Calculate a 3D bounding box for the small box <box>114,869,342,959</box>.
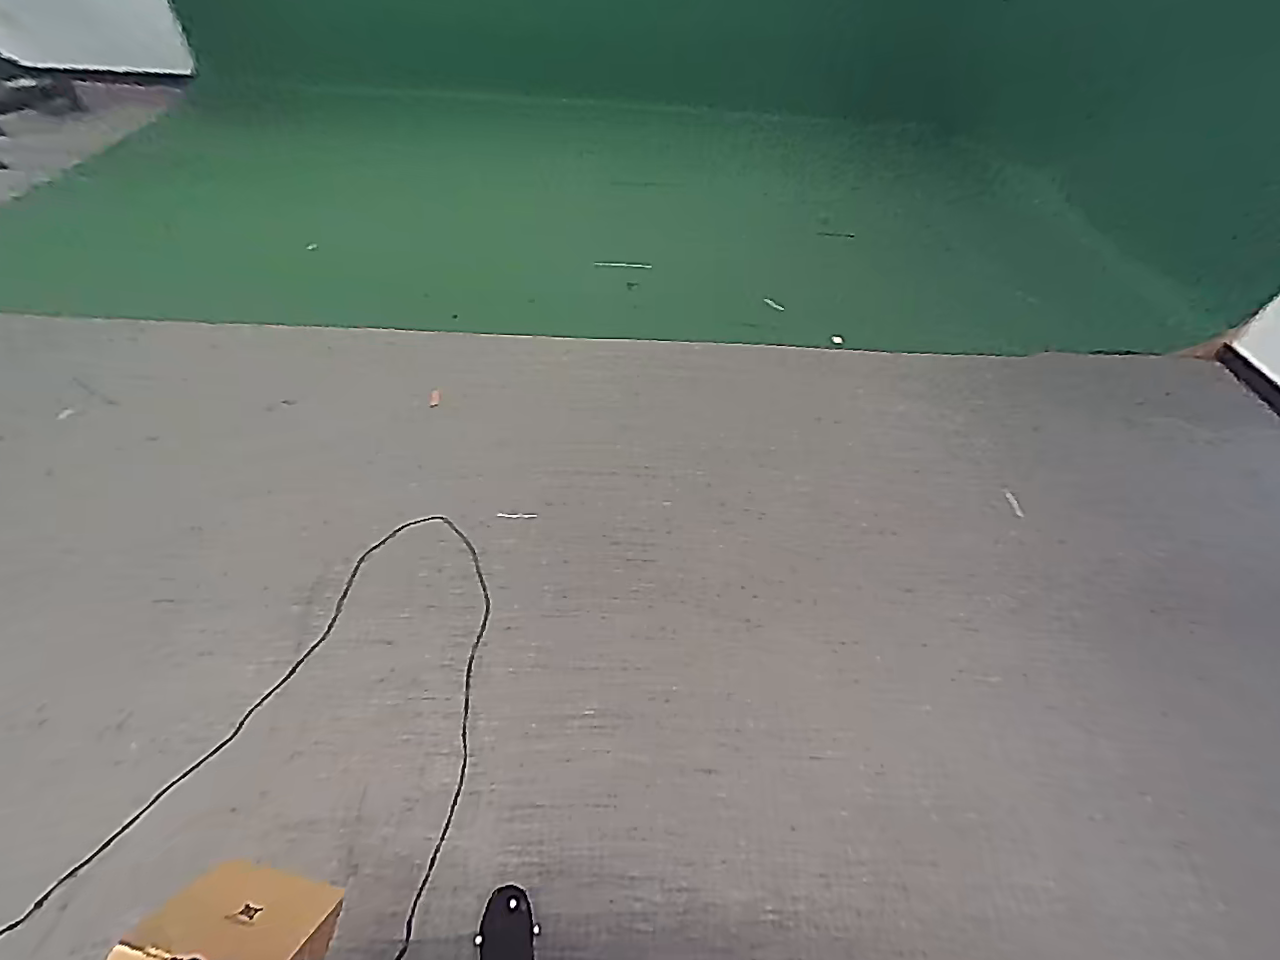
[{"bbox_3d":[-0.487,0.597,0.616,0.168,0.179,0.176,15,79,-1],"label":"small box"}]
